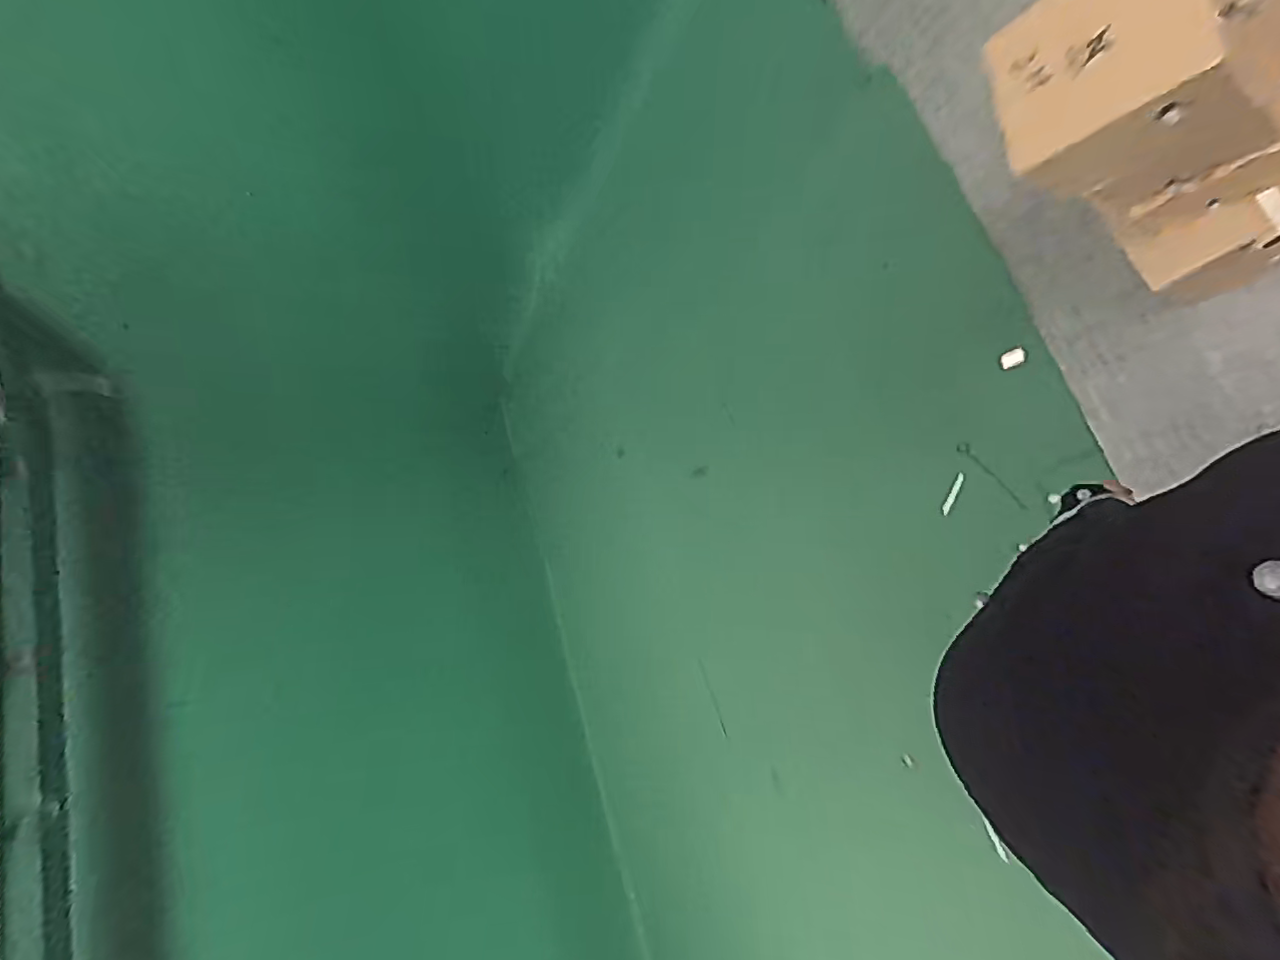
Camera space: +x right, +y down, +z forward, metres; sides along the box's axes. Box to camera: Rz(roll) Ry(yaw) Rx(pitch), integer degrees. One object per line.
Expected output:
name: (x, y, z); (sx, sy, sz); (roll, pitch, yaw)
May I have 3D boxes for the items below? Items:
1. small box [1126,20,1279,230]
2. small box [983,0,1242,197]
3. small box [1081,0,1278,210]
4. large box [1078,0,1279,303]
small box: (0.811, -0.494, 0.784); (0.168, 0.176, 0.179); (-23, 78, 55)
small box: (0.534, -0.455, 0.613); (0.179, 0.176, 0.168); (-16, 84, 56)
small box: (0.672, -0.482, 0.699); (0.168, 0.176, 0.179); (-17, 84, 56)
large box: (0.996, -0.571, 0.930); (0.320, 0.320, 0.408); (-40, 63, 51)
